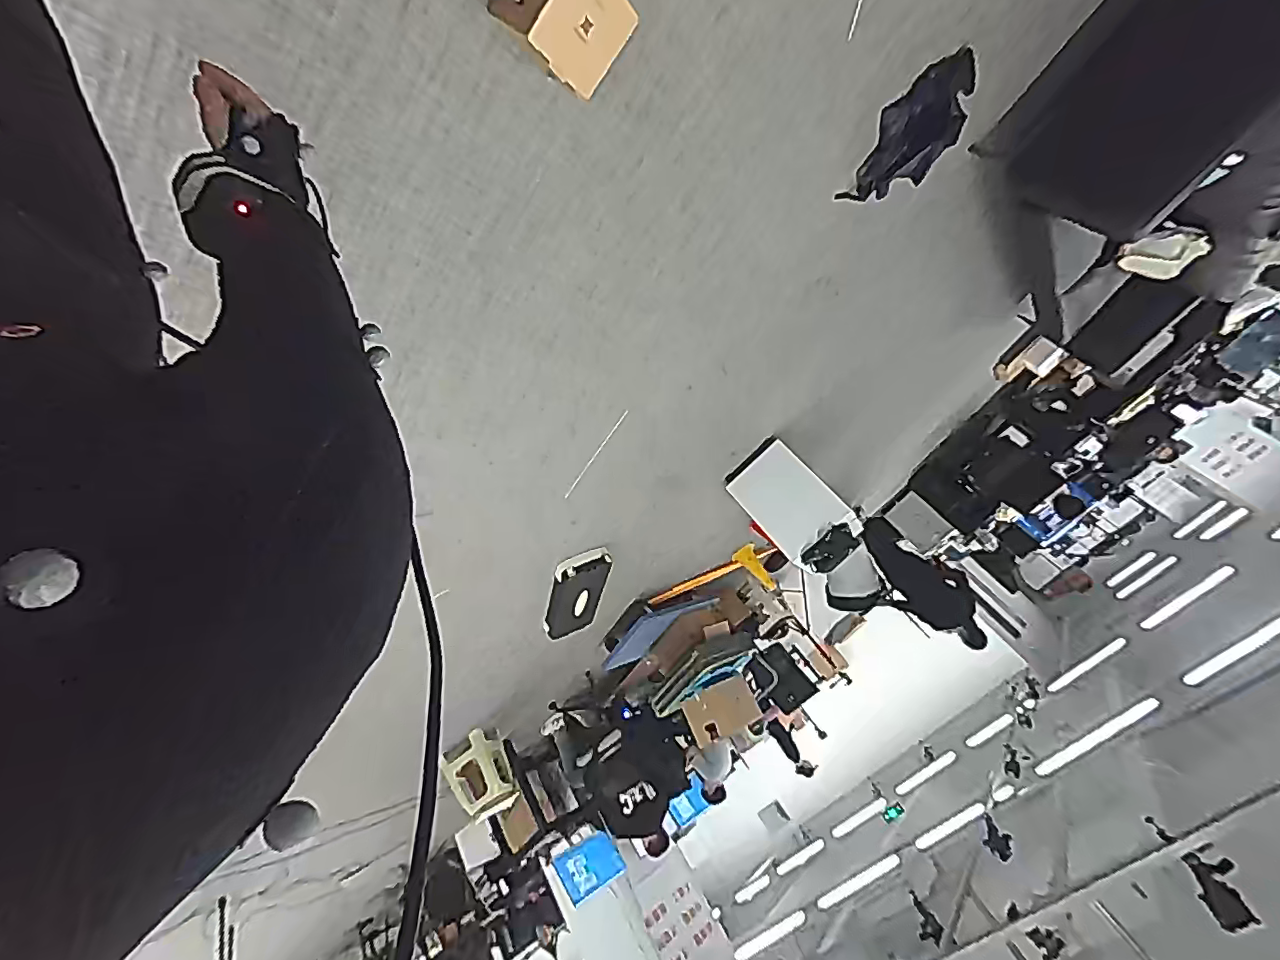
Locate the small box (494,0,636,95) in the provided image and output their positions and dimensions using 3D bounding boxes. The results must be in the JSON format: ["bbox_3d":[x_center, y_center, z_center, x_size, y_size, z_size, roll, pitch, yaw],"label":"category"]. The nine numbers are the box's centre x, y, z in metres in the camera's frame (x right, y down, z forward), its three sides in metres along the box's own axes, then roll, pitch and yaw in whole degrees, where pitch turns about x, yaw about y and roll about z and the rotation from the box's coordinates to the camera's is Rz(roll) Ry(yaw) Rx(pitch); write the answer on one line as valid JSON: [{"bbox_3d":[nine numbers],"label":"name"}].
[{"bbox_3d":[-0.148,-0.880,1.007,0.179,0.176,0.168,-49,151,18],"label":"small box"}]
